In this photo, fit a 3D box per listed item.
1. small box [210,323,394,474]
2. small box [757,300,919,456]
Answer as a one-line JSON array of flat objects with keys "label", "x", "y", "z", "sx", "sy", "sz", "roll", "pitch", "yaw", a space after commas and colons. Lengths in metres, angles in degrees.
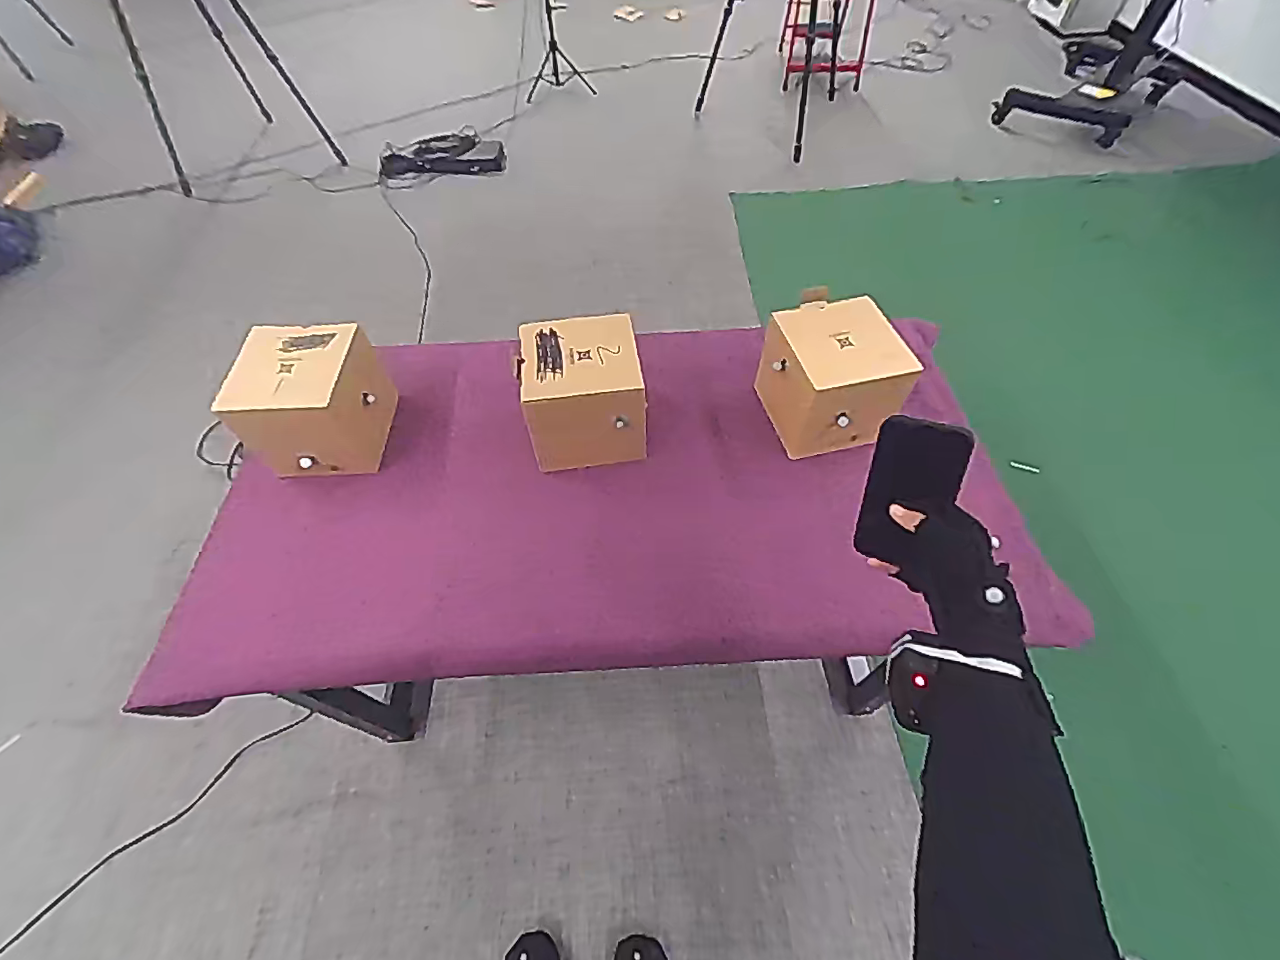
[{"label": "small box", "x": -0.513, "y": -0.126, "z": 0.856, "sx": 0.168, "sy": 0.176, "sz": 0.179, "roll": -2, "pitch": 57, "yaw": 0}, {"label": "small box", "x": 0.301, "y": -0.155, "z": 0.865, "sx": 0.168, "sy": 0.176, "sz": 0.179, "roll": -11, "pitch": 55, "yaw": -6}]
